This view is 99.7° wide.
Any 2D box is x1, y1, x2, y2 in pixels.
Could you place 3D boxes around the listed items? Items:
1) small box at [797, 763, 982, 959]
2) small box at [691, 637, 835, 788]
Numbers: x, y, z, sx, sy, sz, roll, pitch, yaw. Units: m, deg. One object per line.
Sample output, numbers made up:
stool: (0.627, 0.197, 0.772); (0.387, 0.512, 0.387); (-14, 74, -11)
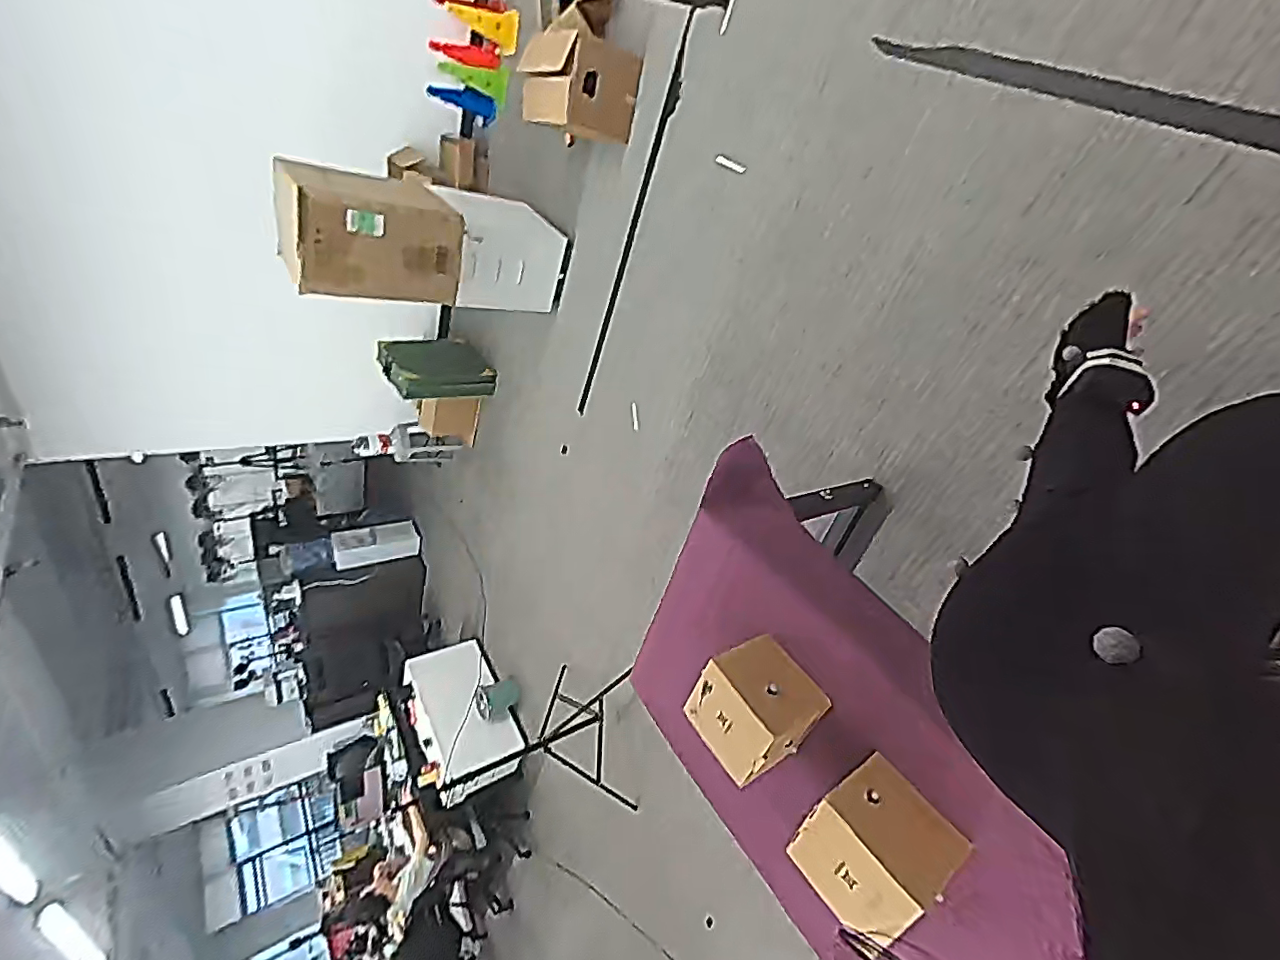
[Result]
small box: (0.390, 0.586, 0.858); (0.179, 0.176, 0.168); (41, 129, 40)
small box: (0.233, 0.431, 1.030); (0.179, 0.176, 0.168); (46, 131, 36)
